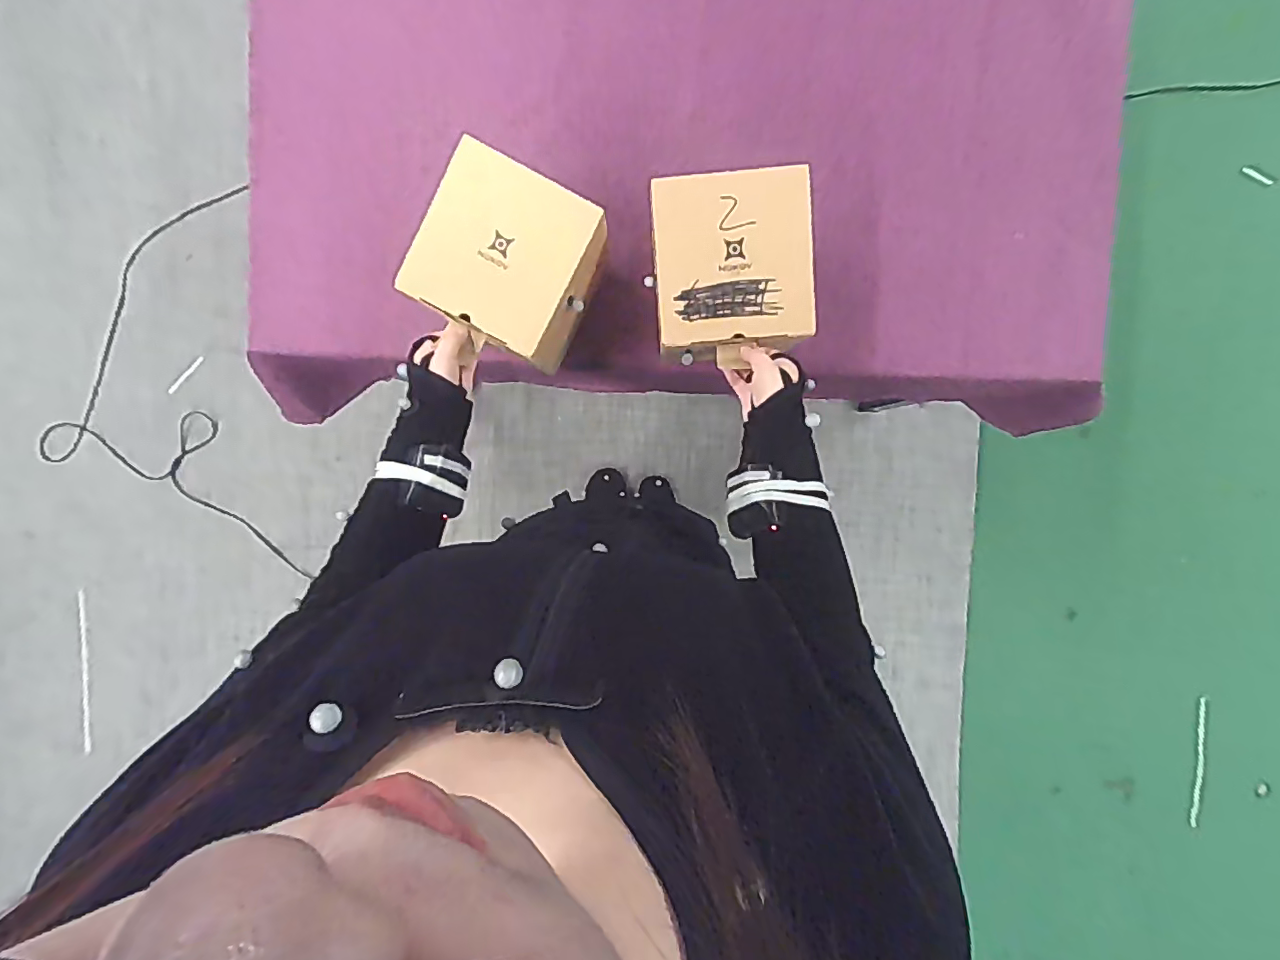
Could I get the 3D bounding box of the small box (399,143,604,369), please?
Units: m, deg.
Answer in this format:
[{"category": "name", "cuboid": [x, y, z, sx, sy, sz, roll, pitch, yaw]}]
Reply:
[{"category": "small box", "cuboid": [-0.153, -0.254, 0.662, 0.168, 0.176, 0.179, 28, 95, -3]}]
